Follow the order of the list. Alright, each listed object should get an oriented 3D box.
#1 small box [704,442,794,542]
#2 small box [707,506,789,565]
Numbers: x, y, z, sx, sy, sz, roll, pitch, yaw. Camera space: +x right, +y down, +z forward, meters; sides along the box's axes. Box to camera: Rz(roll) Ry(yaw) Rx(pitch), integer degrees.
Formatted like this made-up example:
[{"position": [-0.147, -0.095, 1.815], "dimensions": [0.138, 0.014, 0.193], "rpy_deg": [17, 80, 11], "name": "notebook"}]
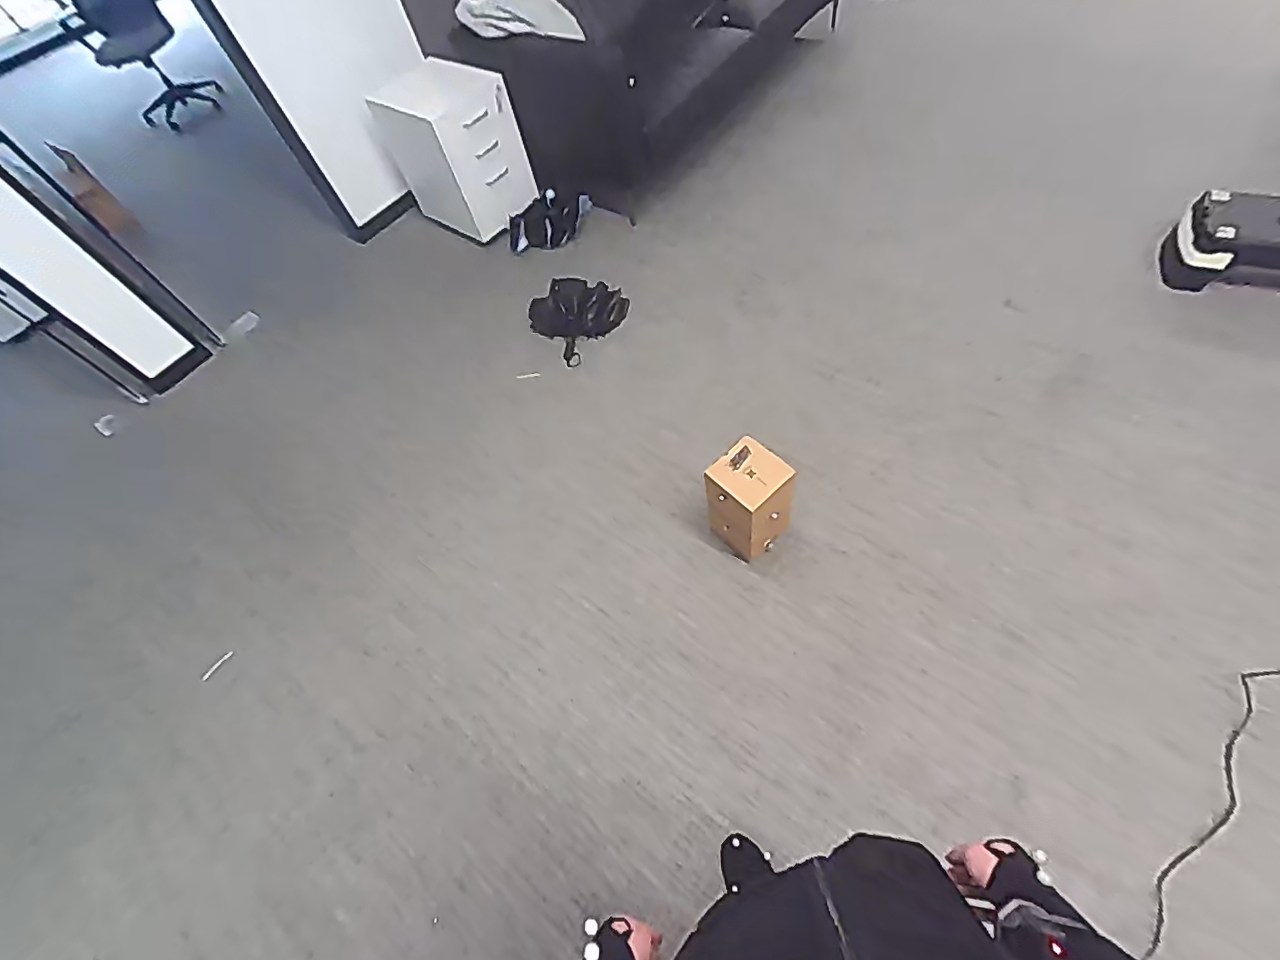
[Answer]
[{"position": [0.295, 0.037, 1.479], "dimensions": [0.168, 0.176, 0.179], "rpy_deg": [-39, 61, -14], "name": "small box"}, {"position": [0.318, 0.125, 1.616], "dimensions": [0.168, 0.176, 0.179], "rpy_deg": [-41, 61, -14], "name": "small box"}]
